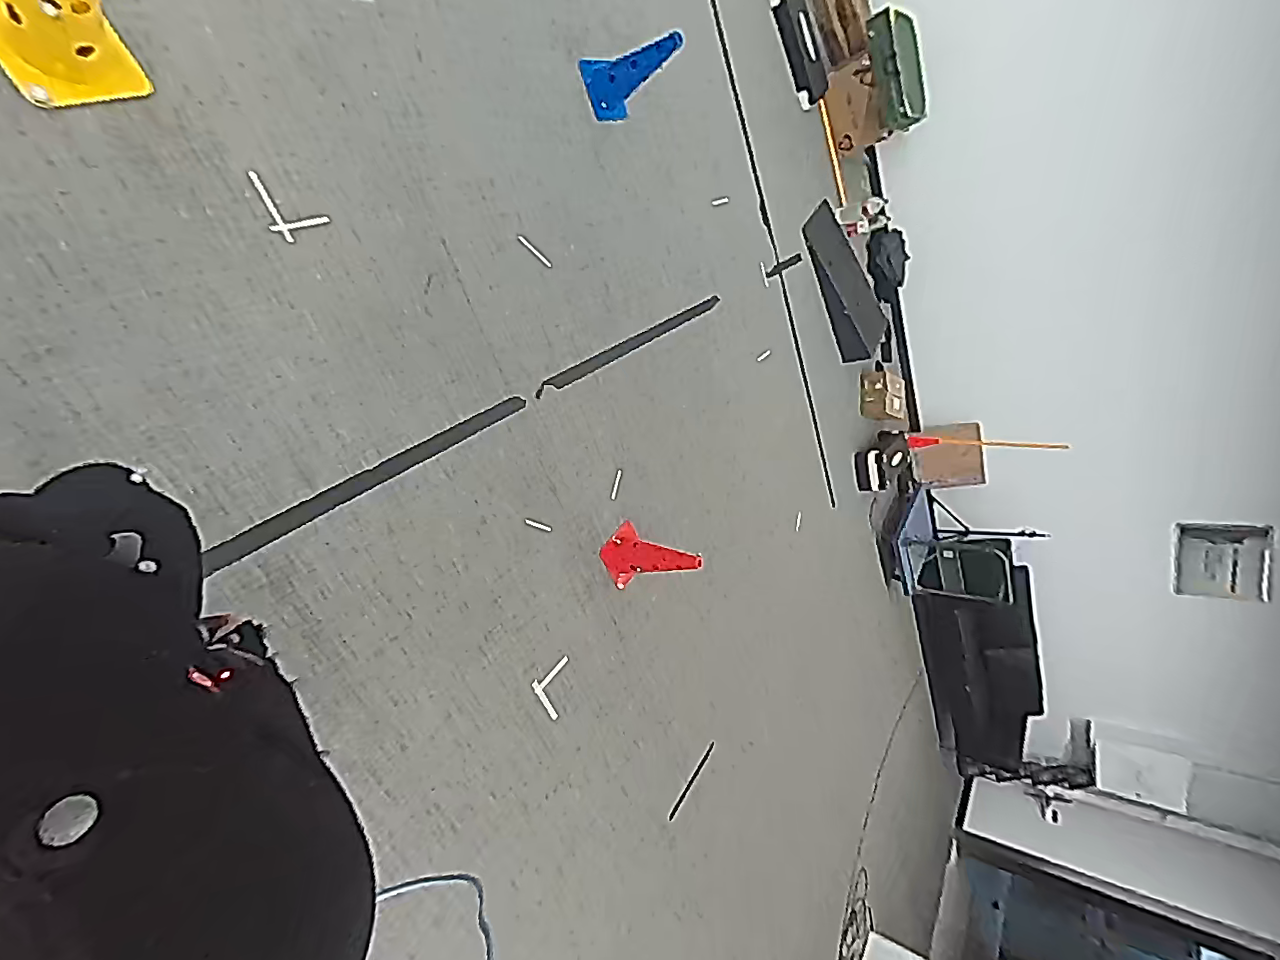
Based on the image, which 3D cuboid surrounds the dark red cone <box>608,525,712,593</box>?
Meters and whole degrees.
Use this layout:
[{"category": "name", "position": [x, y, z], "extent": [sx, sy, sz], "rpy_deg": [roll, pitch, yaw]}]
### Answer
[{"category": "dark red cone", "position": [0.090, 0.295, 1.936], "extent": [0.202, 0.394, 0.201], "rpy_deg": [-48, 123, -38]}]

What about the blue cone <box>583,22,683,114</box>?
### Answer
[{"category": "blue cone", "position": [-0.003, -1.463, 1.891], "extent": [0.193, 0.380, 0.192], "rpy_deg": [-39, 117, -42]}]
